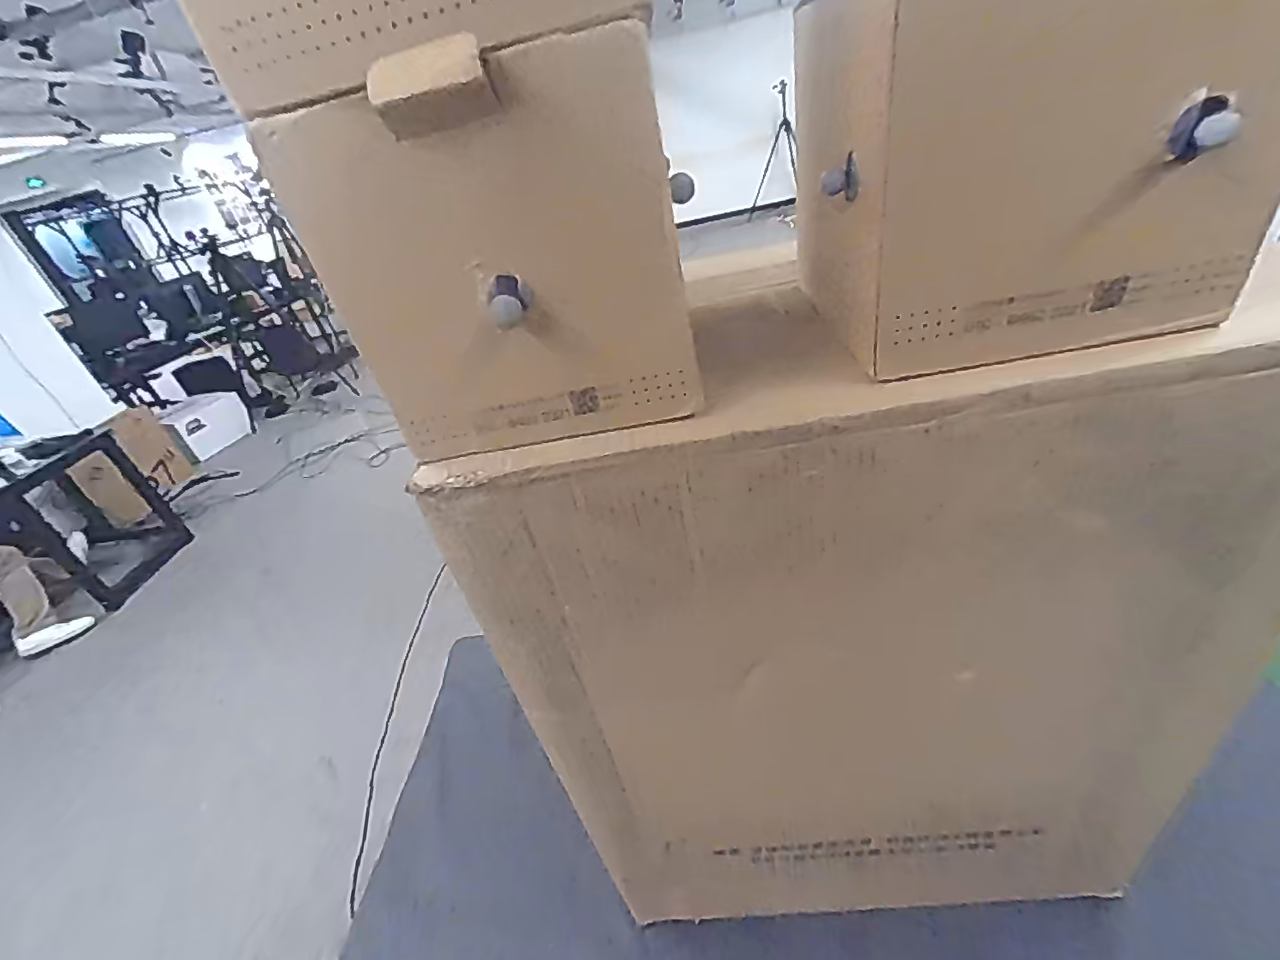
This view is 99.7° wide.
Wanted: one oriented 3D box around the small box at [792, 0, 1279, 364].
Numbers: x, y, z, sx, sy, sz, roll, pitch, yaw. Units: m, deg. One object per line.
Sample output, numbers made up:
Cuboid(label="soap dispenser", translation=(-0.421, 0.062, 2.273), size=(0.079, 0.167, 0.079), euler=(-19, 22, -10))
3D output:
Cuboid(label="small box", translation=(0.183, -0.170, 0.291), size=(0.168, 0.176, 0.179), euler=(-7, 34, 6))

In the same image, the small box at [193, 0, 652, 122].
Cuboid(label="small box", translation=(-0.093, -0.273, 0.233), size=(0.179, 0.176, 0.168), euler=(-9, 34, 8))

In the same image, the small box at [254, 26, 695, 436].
Cuboid(label="small box", translation=(-0.061, -0.137, 0.322), size=(0.168, 0.176, 0.179), euler=(-8, 36, 8))
